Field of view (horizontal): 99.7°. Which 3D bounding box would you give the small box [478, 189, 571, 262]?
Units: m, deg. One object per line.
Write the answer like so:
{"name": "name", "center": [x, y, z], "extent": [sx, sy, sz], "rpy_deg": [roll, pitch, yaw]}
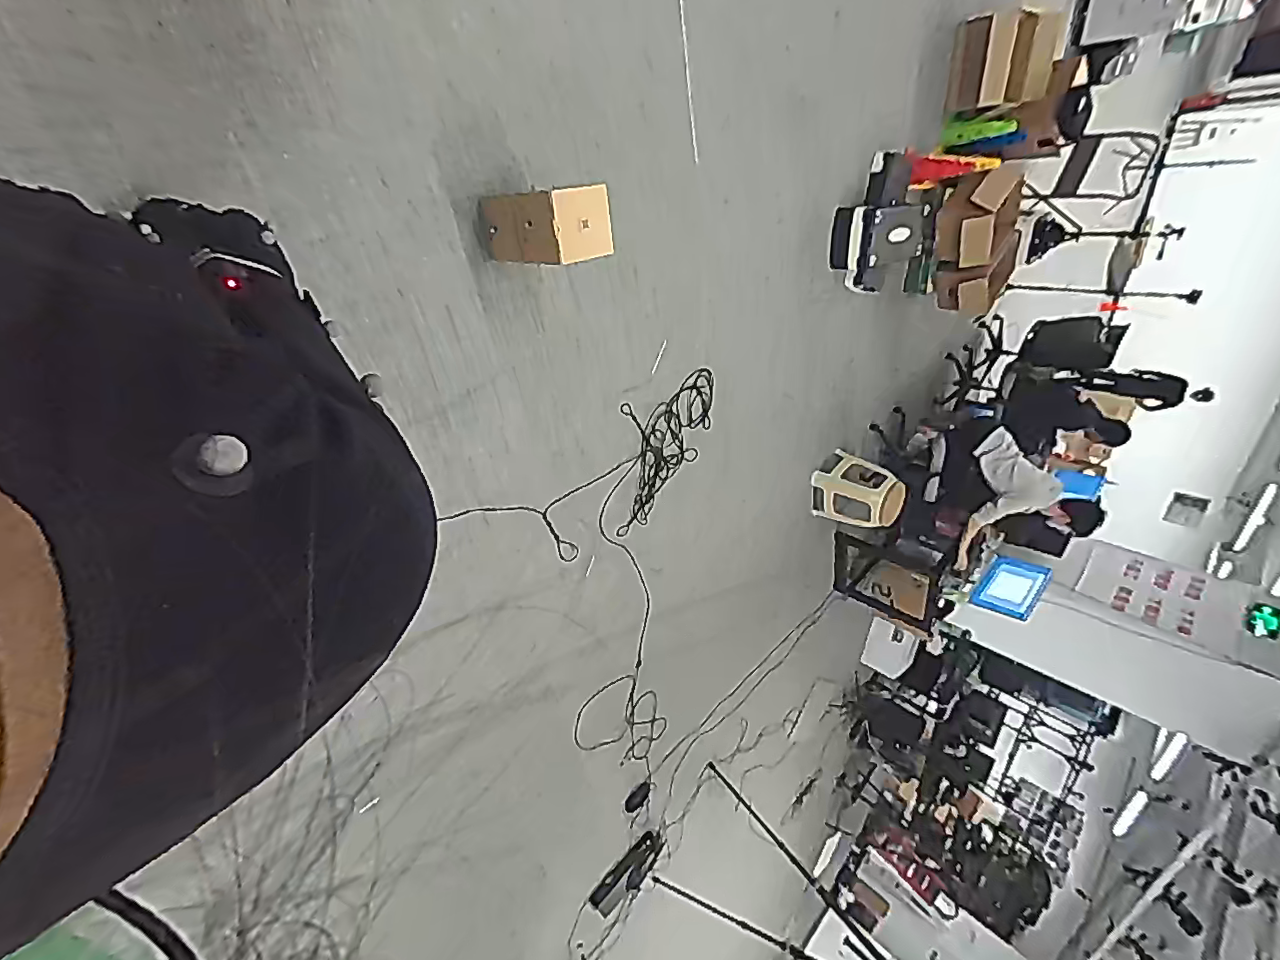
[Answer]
{"name": "small box", "center": [-0.318, -0.707, 1.499], "extent": [0.179, 0.176, 0.168], "rpy_deg": [-28, 126, -35]}
